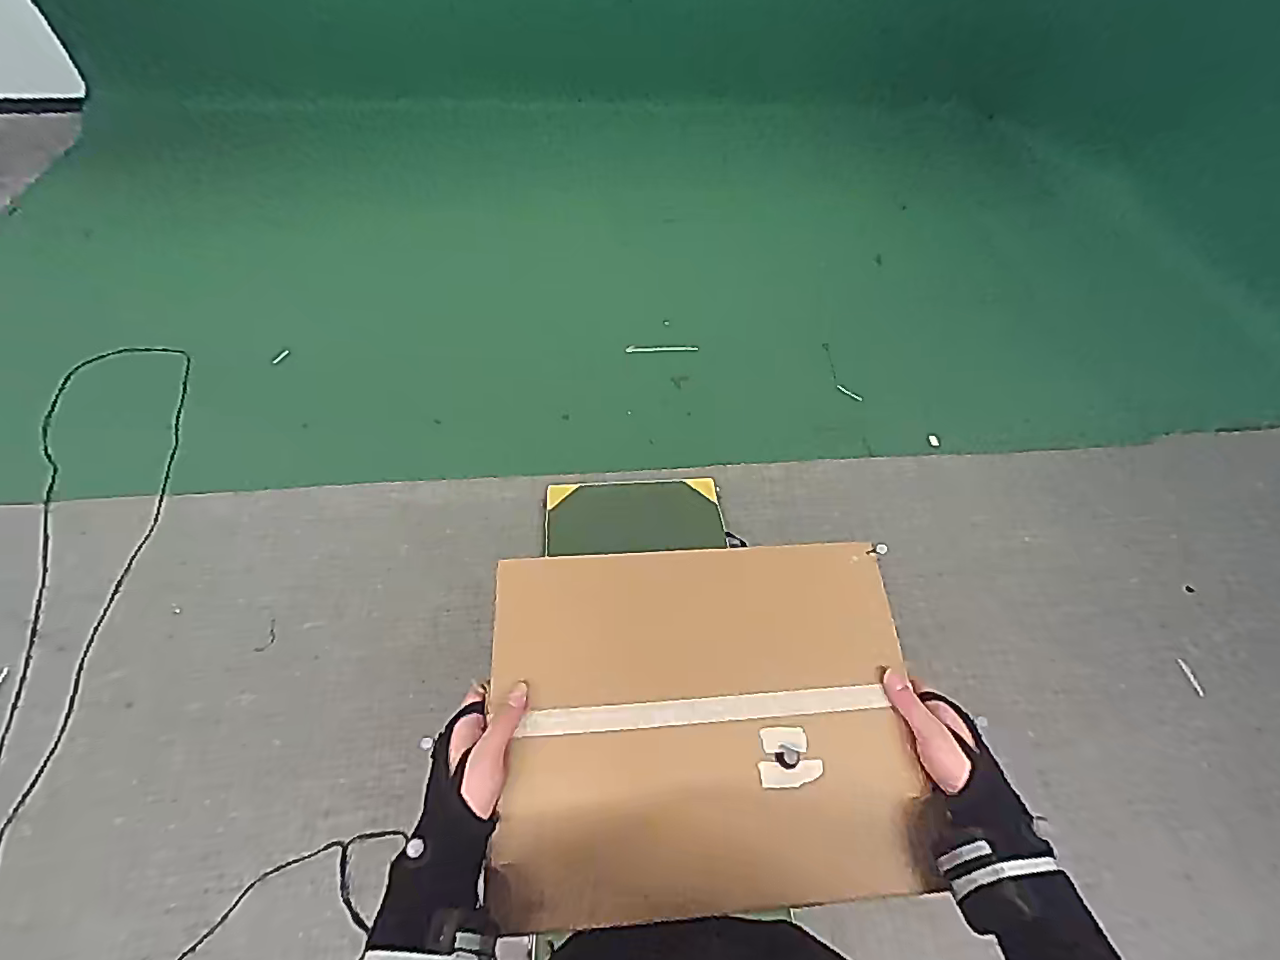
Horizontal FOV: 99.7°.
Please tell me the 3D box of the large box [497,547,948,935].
[{"bbox_3d":[0.054,0.290,0.656,0.408,0.320,0.320,-2,64,-5],"label":"large box"}]
